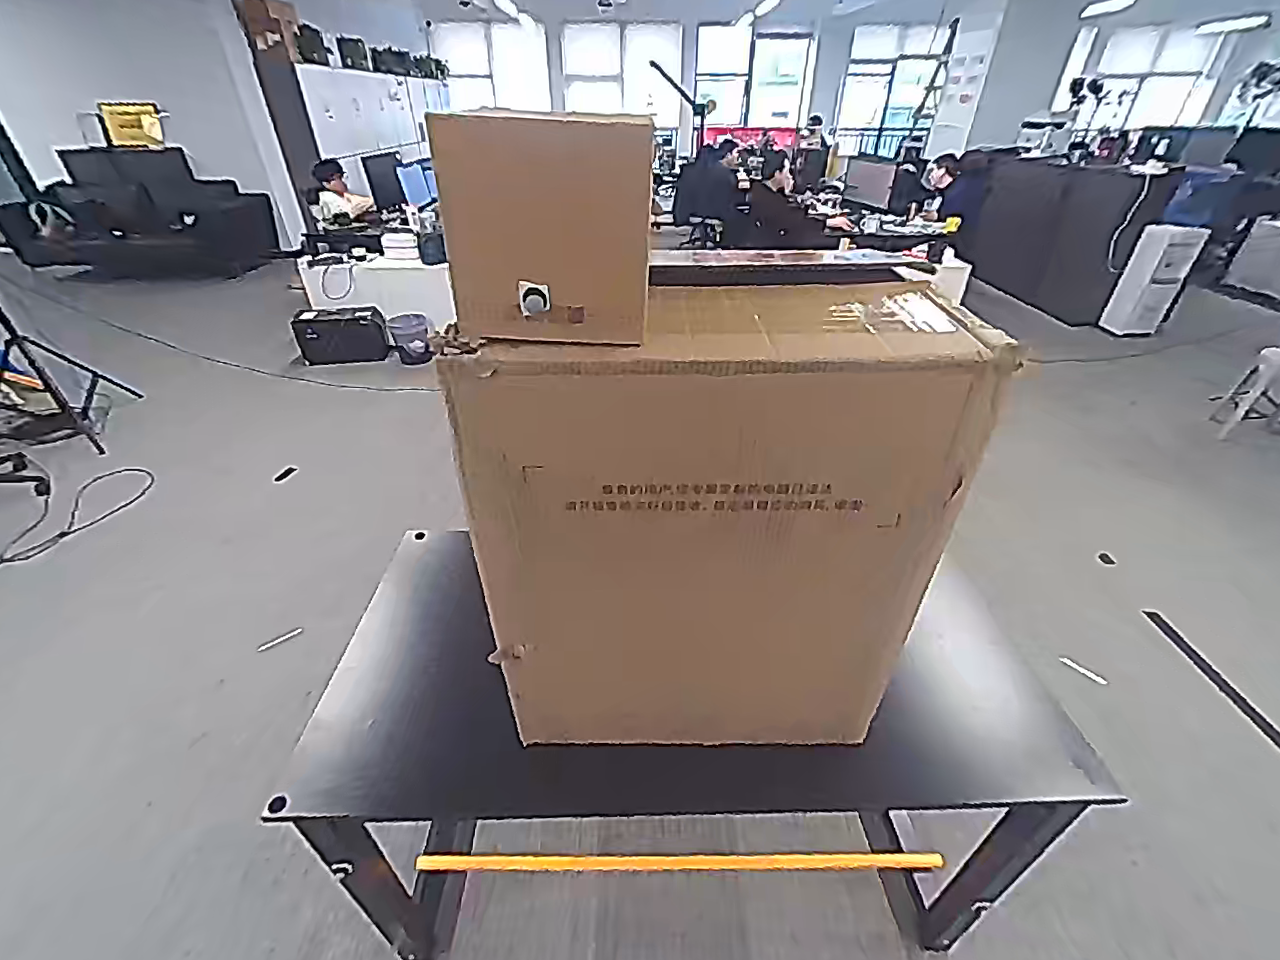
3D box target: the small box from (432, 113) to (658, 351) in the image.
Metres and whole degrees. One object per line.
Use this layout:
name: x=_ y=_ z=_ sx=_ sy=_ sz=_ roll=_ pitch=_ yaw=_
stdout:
small box: x=-0.072 y=-0.232 z=0.500 sx=0.168 sy=0.176 sz=0.179 roll=0 pitch=36 yaw=-2
